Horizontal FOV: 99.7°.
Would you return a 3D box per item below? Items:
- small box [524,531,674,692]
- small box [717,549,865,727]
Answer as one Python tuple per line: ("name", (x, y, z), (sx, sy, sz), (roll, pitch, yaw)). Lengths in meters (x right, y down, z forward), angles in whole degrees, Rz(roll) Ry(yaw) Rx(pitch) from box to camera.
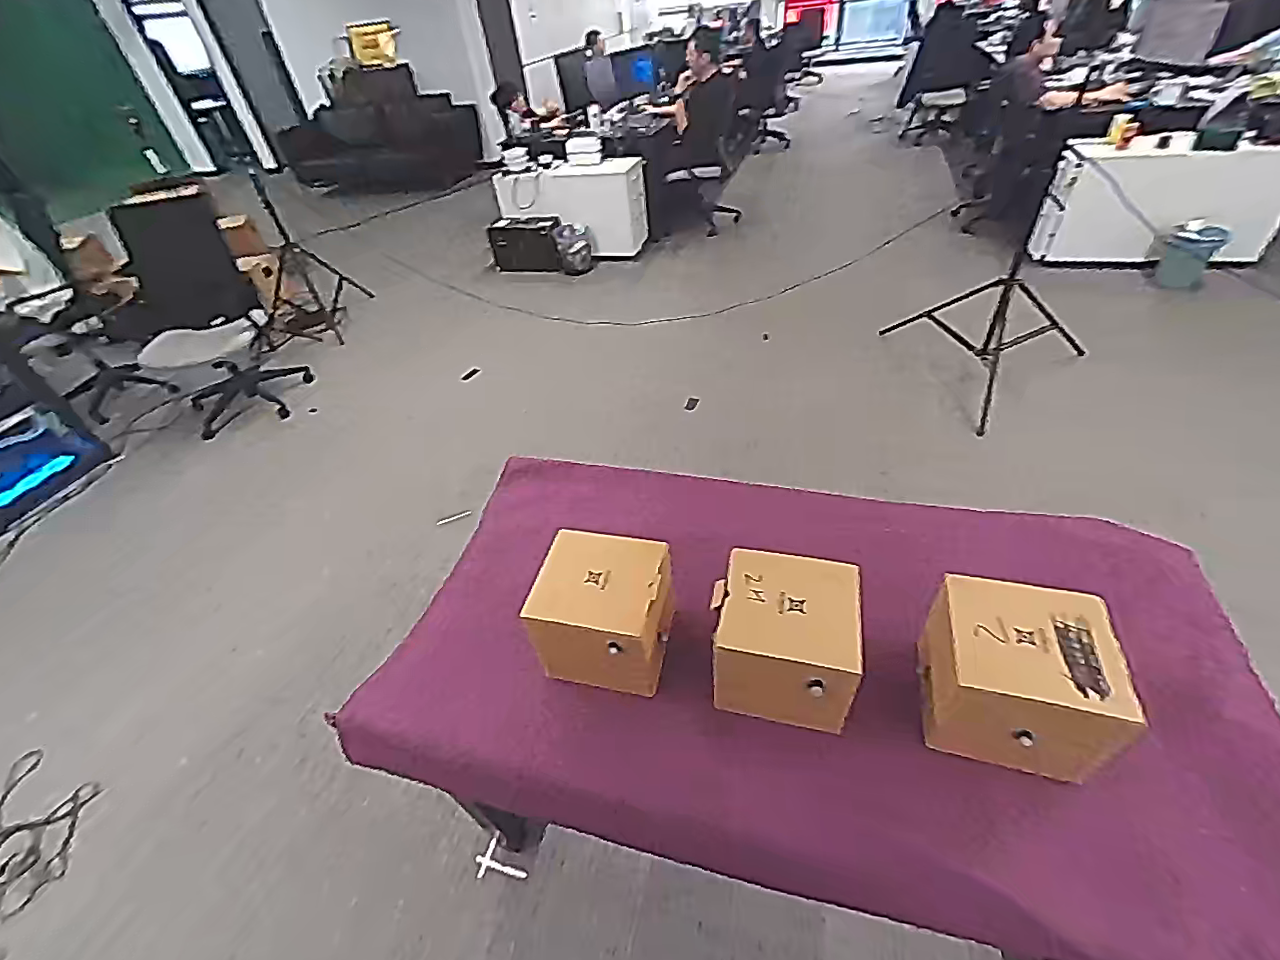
("small box", (-0.050, 0.201, 0.826), (0.179, 0.176, 0.168), (5, 43, 13))
("small box", (0.207, 0.223, 0.759), (0.179, 0.176, 0.168), (6, 43, 15))
